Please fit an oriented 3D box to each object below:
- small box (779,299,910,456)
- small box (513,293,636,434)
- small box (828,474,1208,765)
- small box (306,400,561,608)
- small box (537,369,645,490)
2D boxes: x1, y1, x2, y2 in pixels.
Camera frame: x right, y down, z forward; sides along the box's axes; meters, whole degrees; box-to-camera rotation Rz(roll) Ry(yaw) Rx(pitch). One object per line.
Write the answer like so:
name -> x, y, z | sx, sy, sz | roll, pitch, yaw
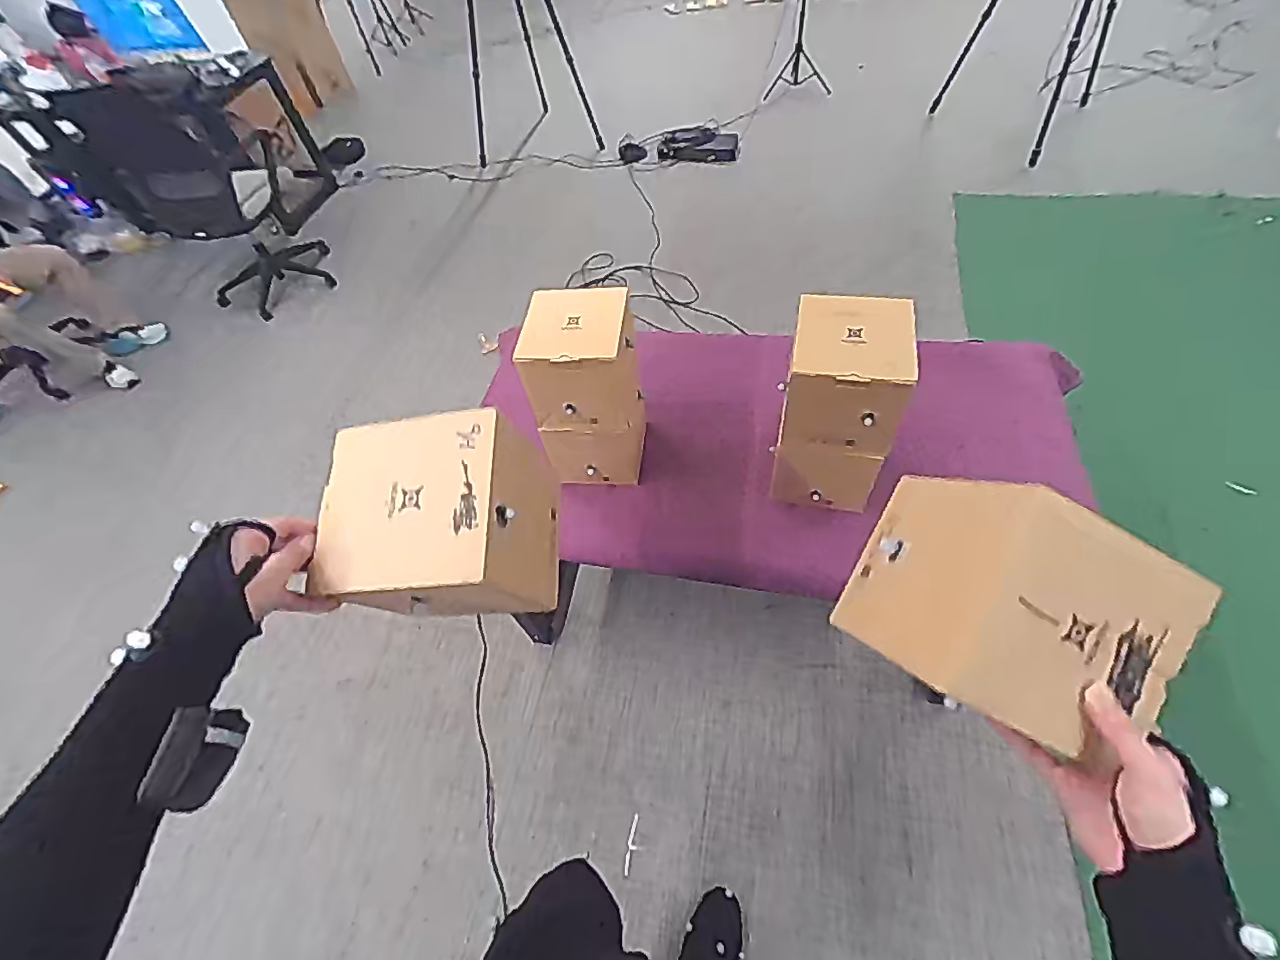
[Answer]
small box -> 0.313, -0.157, 0.846 | 0.168, 0.176, 0.179 | 8, 56, 13
small box -> -0.101, -0.199, 0.938 | 0.168, 0.176, 0.179 | 0, 55, 8
small box -> 0.304, 0.100, 0.472 | 0.179, 0.176, 0.168 | 27, 88, -6
small box -> -0.198, 0.038, 0.568 | 0.179, 0.176, 0.168 | -7, 68, 13
small box -> -0.086, -0.101, 1.068 | 0.168, 0.176, 0.179 | 2, 55, 10
